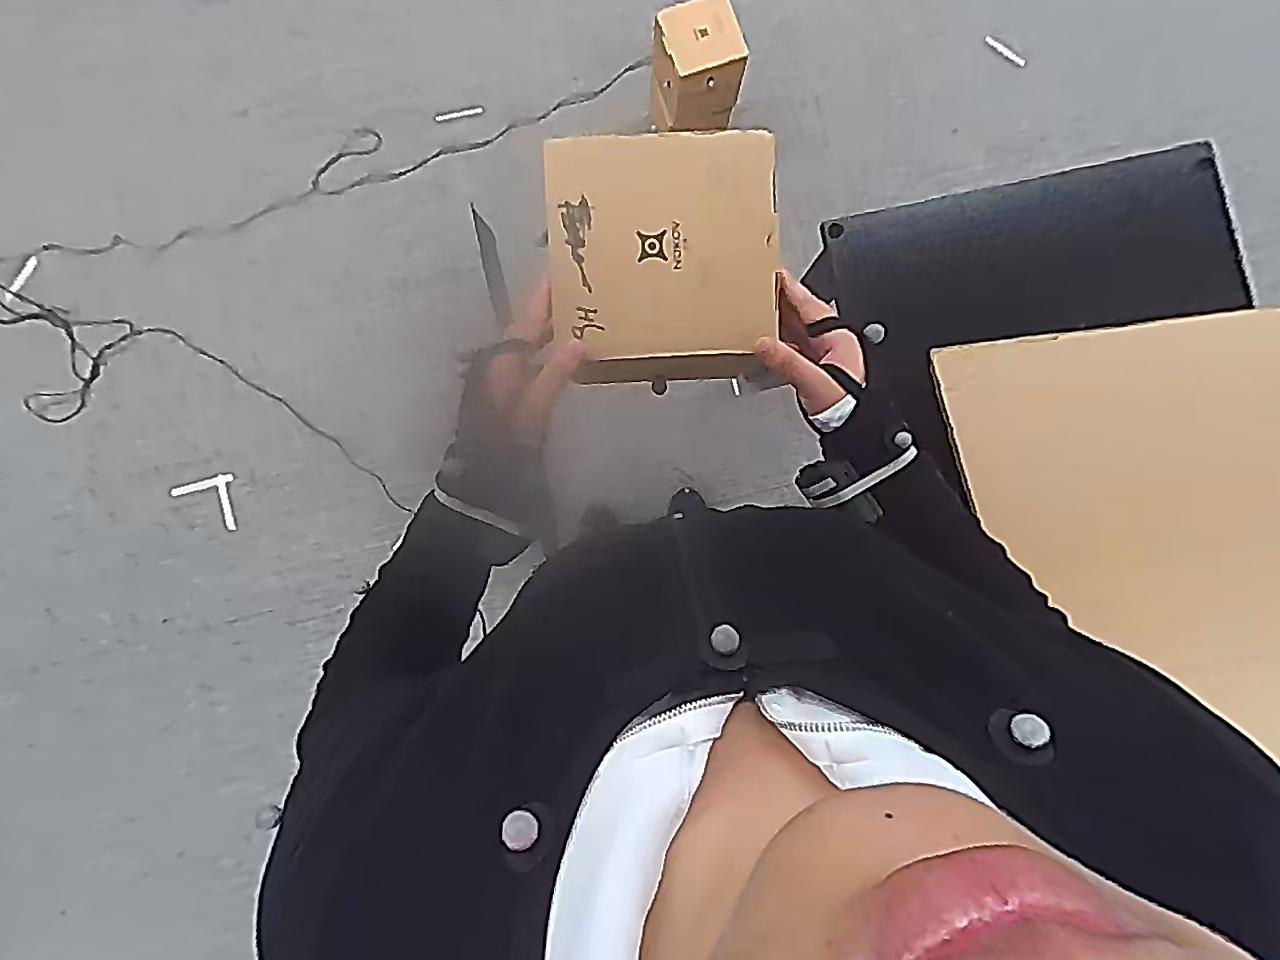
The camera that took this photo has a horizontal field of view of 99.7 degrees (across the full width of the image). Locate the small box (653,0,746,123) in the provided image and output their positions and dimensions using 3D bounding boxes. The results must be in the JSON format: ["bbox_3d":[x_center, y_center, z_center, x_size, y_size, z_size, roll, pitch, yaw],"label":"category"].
[{"bbox_3d":[0.138,-1.023,1.327,0.179,0.176,0.168,-19,88,-3],"label":"small box"}]

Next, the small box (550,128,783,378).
[{"bbox_3d":[0.017,-0.188,0.492,0.179,0.176,0.168,-3,93,-2],"label":"small box"}]

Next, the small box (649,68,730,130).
[{"bbox_3d":[0.130,-1.013,1.489,0.179,0.176,0.168,-17,87,-1],"label":"small box"}]
